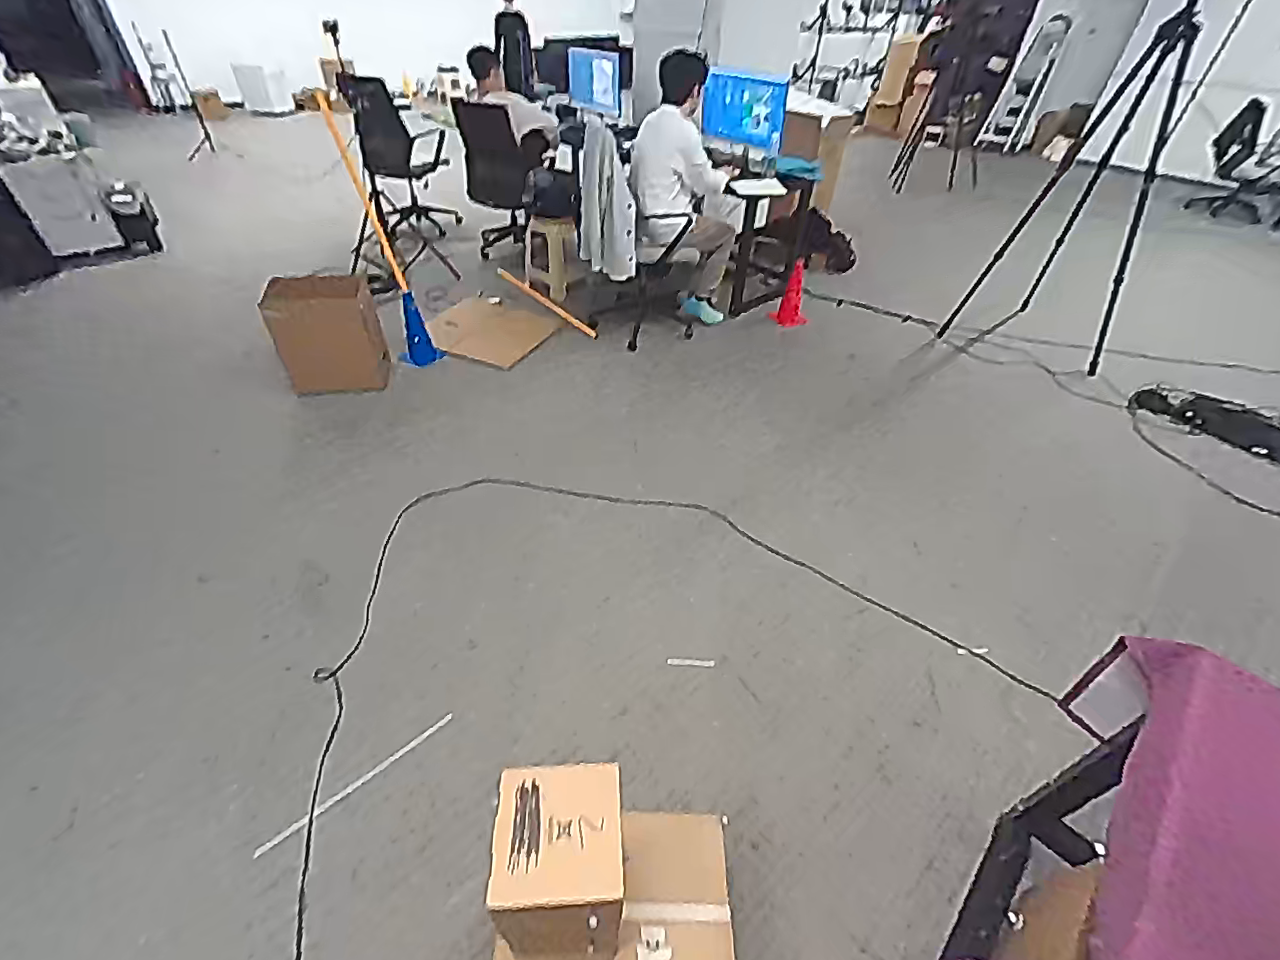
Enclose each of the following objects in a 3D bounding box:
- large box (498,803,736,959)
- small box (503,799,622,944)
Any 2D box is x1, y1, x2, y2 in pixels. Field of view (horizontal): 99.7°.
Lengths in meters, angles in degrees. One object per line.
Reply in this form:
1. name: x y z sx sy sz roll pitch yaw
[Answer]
1. large box: -0.045 0.852 1.055 0.408 0.320 0.320 2 43 -1
2. small box: -0.121 0.653 0.905 0.179 0.176 0.168 -1 41 -3
